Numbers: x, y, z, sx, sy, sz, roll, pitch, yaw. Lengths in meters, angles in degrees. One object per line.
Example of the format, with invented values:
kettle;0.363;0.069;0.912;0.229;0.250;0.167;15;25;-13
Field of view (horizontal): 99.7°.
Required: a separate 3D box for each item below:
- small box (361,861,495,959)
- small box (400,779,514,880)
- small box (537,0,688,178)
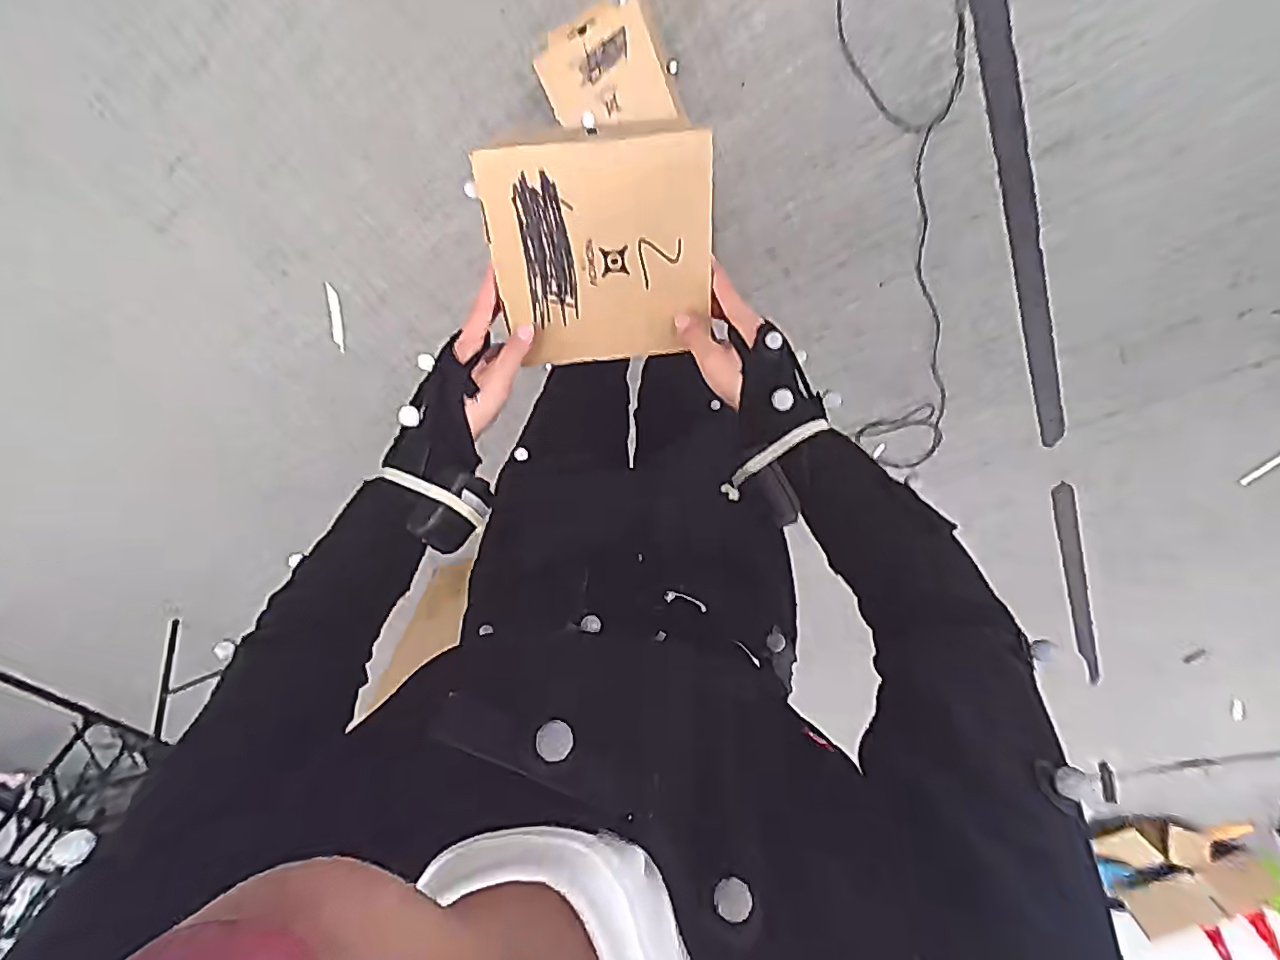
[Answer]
small box;-0.438;0.931;1.148;0.179;0.176;0.168;-20;127;21
small box;-0.418;0.823;1.271;0.179;0.176;0.168;-22;125;23
small box;-0.032;-0.606;0.833;0.168;0.176;0.179;-16;128;19
